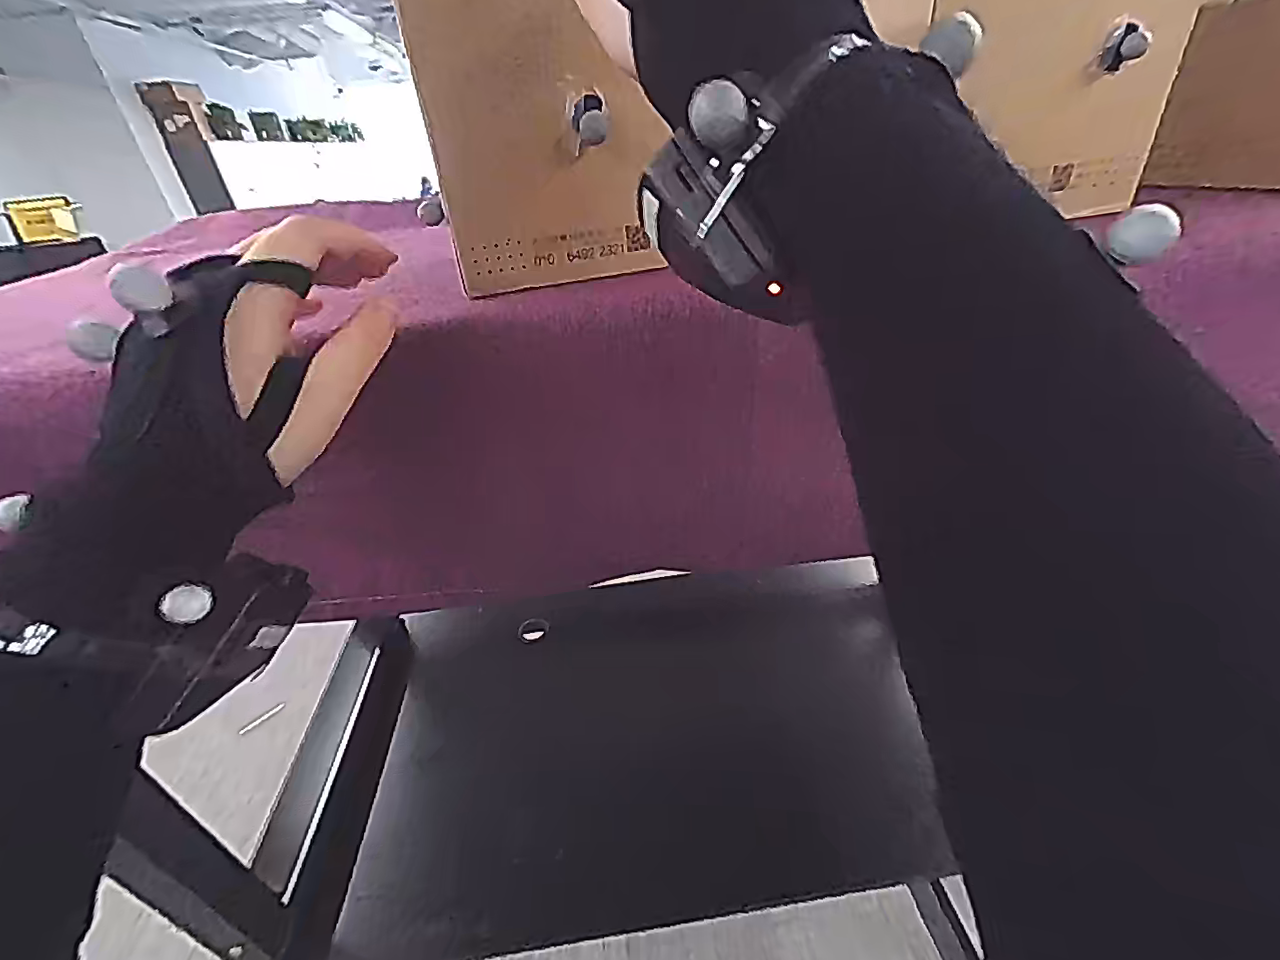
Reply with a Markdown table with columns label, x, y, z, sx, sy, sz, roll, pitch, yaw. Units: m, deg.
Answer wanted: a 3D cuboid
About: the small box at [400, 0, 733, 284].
| label | x | y | z | sx | sy | sz | roll | pitch | yaw |
| --- | --- | --- | --- | --- | --- | --- | --- | --- | --- |
| small box | -0.046 | -0.232 | 0.347 | 0.168 | 0.176 | 0.179 | -13 | 33 | -12 |
